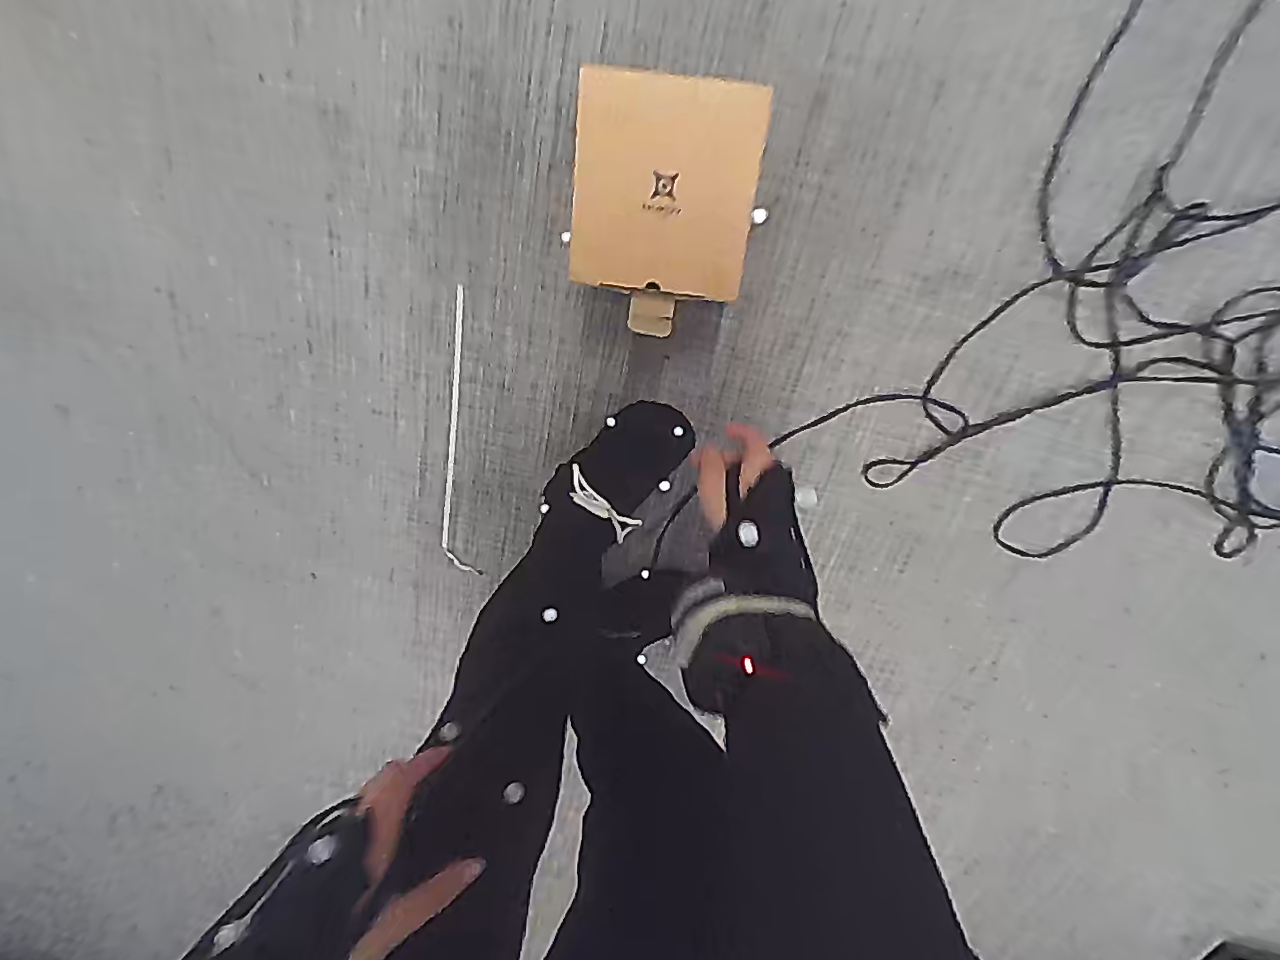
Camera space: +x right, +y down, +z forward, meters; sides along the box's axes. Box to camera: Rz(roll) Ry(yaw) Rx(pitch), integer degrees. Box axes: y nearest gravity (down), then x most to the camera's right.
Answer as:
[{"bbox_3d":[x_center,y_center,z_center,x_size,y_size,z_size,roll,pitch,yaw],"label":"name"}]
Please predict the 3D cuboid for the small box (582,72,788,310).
[{"bbox_3d":[0.039,-0.286,0.561,0.168,0.176,0.179,8,114,1],"label":"small box"}]
